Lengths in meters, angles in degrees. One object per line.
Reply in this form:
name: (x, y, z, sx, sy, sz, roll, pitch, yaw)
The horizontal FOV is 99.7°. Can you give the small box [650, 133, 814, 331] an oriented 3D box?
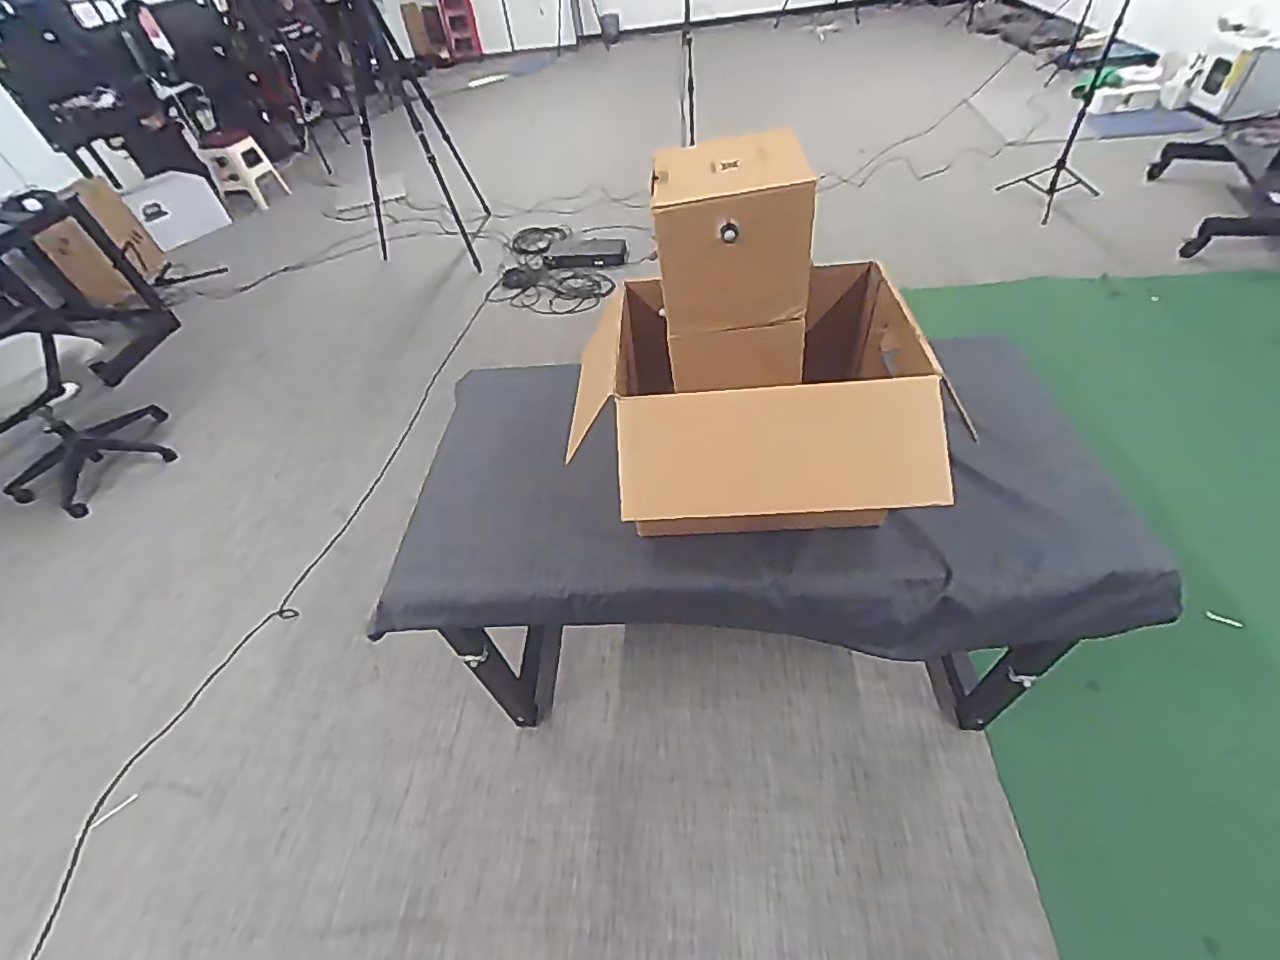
small box: (0.111, -0.307, 0.684, 0.179, 0.176, 0.168, -5, 49, 7)
